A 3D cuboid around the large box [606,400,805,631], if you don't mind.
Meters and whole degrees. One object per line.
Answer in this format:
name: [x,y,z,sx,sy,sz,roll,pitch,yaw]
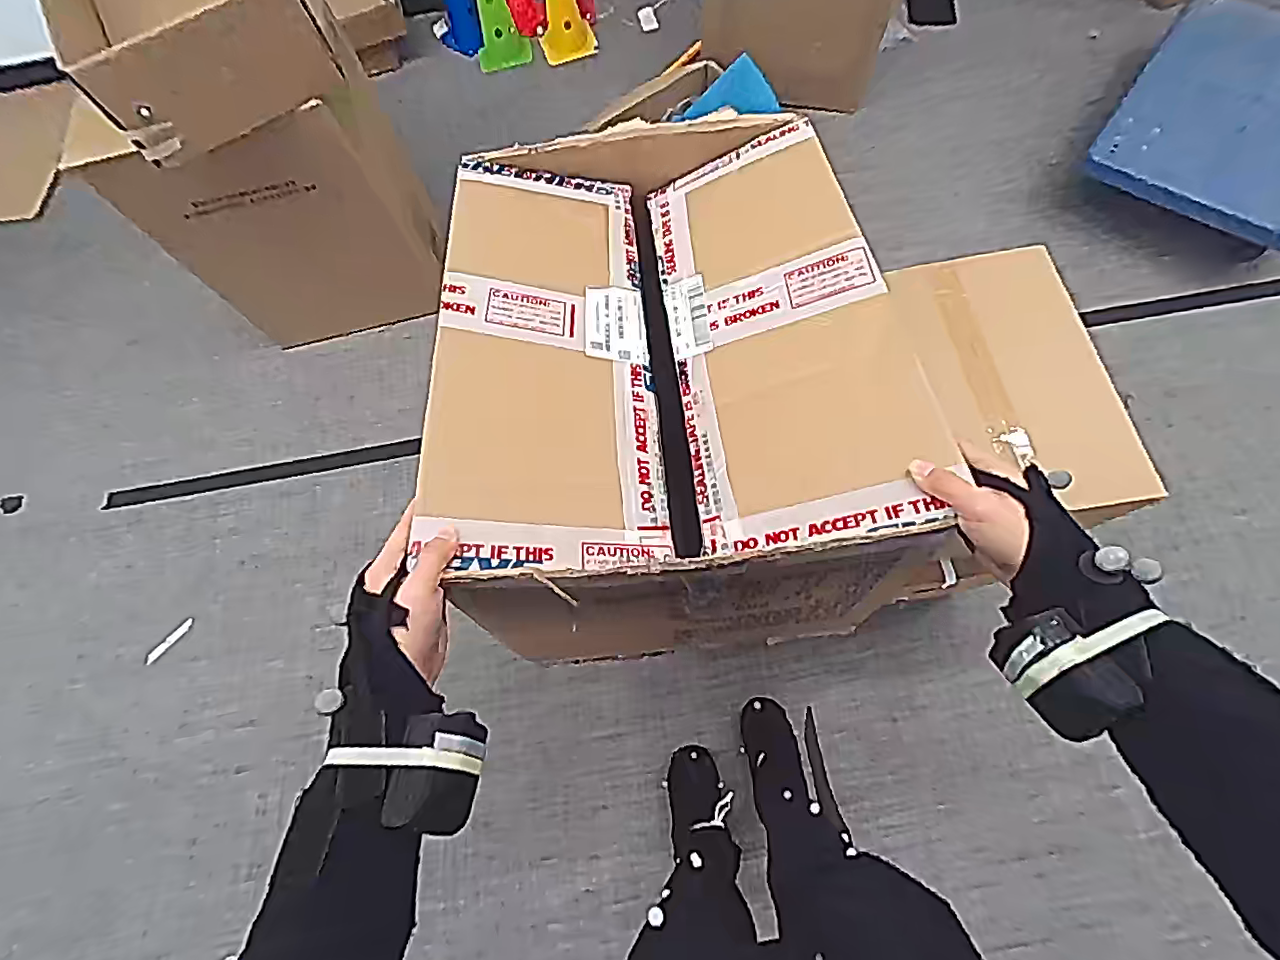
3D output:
large box: [0.124,0.093,1.187,0.320,0.320,0.408,-11,70,1]
